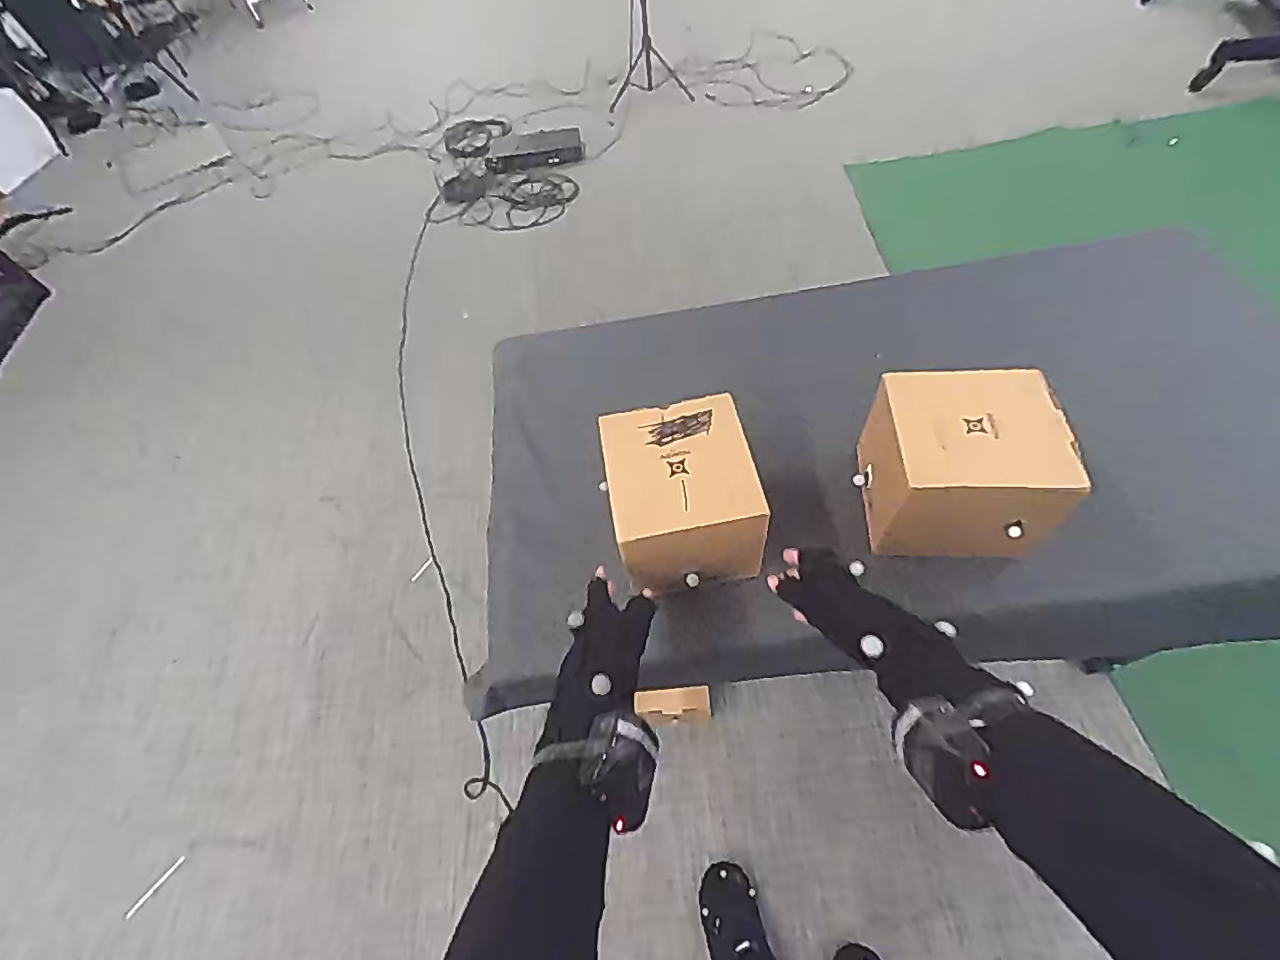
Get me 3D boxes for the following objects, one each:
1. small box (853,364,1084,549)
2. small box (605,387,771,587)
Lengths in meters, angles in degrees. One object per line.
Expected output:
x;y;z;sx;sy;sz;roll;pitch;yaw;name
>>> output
0.381;-0.023;0.667;0.179;0.176;0.168;0;57;8;small box
0.054;0.013;0.682;0.168;0.176;0.179;-11;57;1;small box
